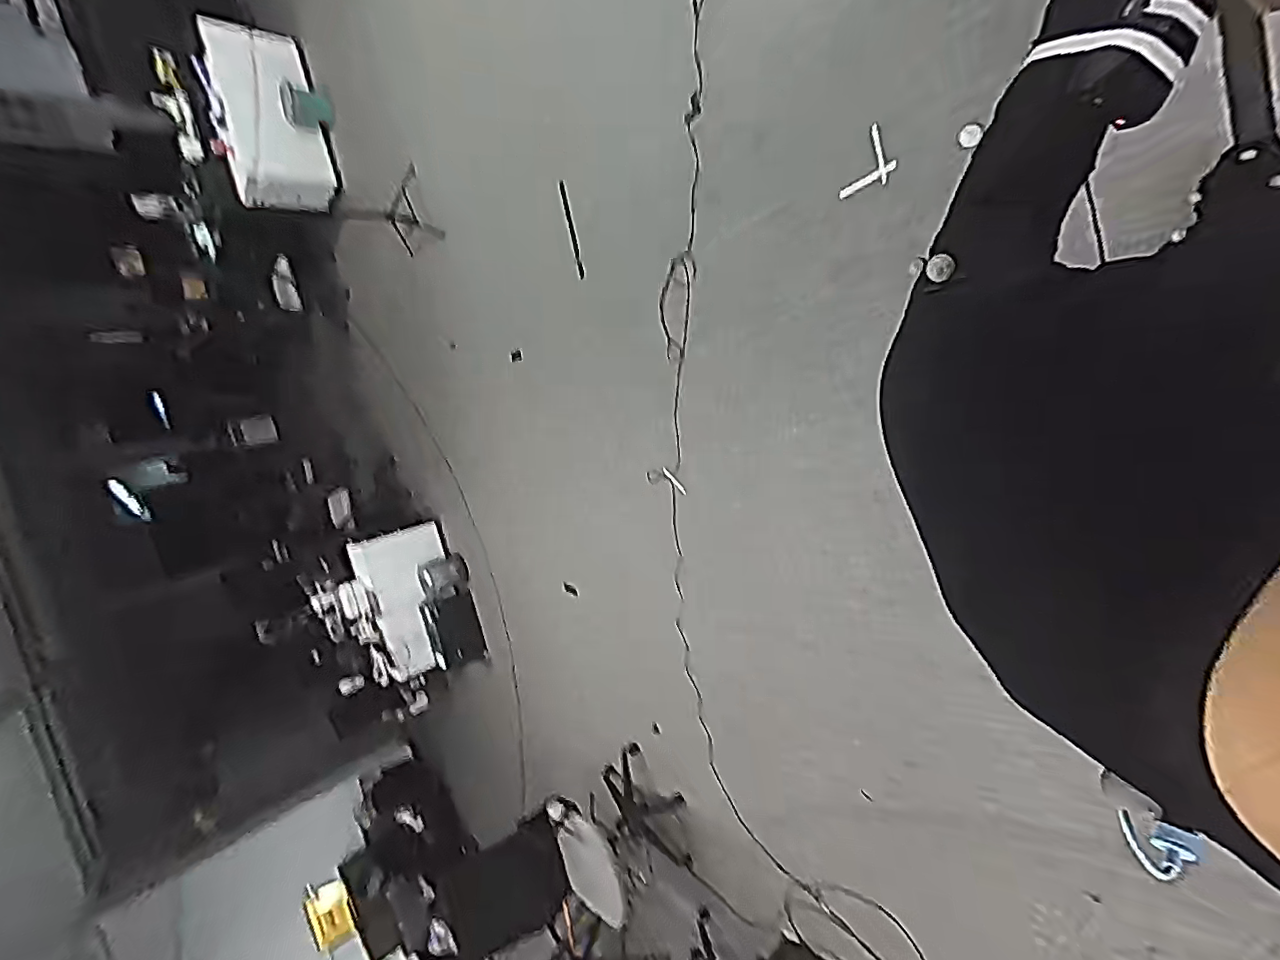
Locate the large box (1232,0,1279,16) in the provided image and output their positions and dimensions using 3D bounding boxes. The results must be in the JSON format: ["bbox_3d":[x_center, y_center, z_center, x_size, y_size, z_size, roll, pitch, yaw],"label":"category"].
[{"bbox_3d":[0.588,-0.454,0.227,0.408,0.320,0.320,23,132,40],"label":"large box"}]
